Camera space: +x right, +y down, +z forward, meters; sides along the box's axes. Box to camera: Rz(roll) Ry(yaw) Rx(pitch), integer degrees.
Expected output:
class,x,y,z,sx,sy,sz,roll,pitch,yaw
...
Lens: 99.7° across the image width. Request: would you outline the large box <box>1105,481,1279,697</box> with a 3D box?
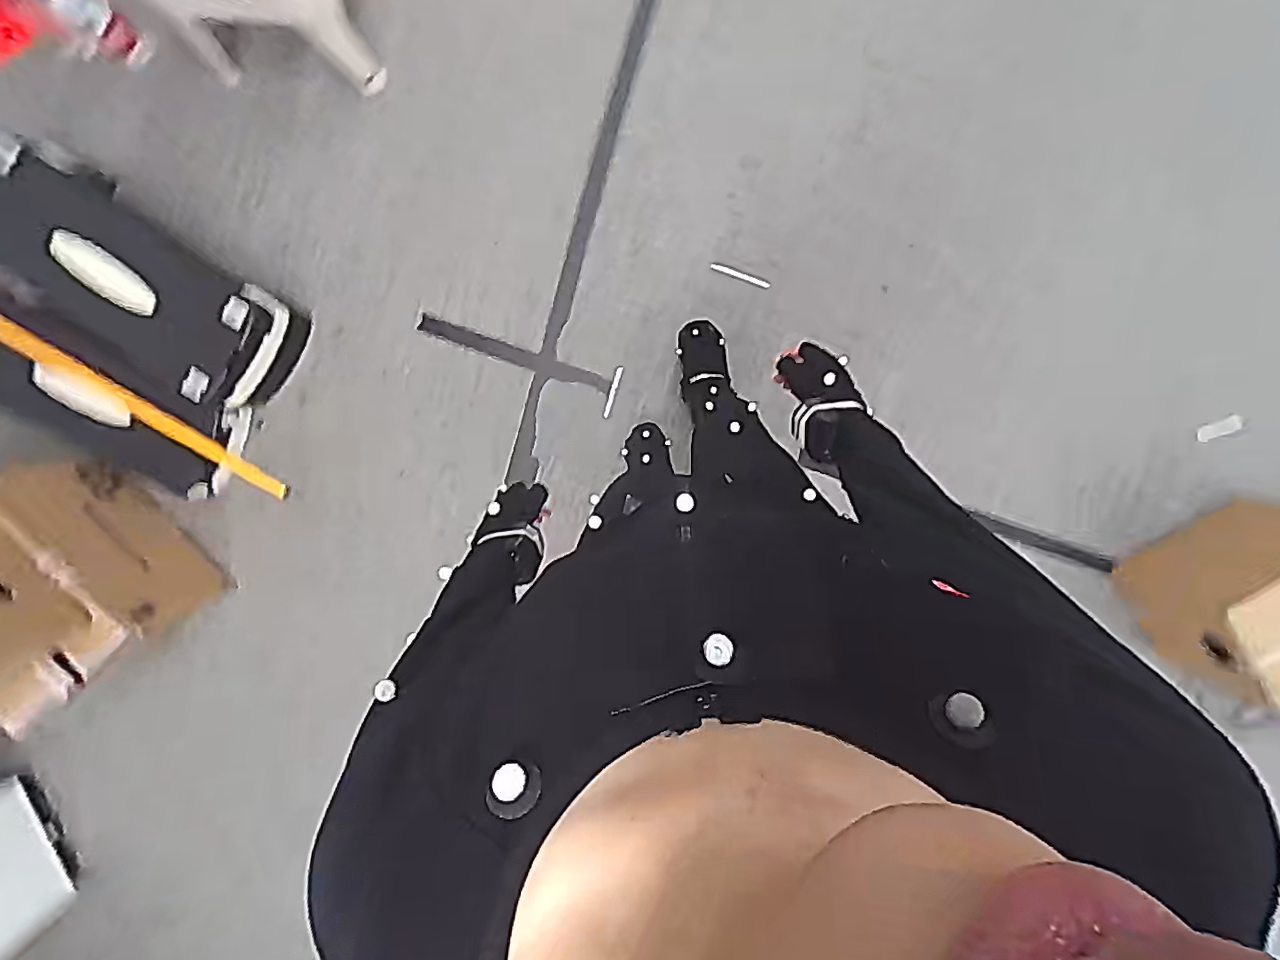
class,x,y,z,sx,sy,sz,roll,pitch,yaw
large box,1.564,0.258,1.394,0.408,0.320,0.320,-34,98,6
